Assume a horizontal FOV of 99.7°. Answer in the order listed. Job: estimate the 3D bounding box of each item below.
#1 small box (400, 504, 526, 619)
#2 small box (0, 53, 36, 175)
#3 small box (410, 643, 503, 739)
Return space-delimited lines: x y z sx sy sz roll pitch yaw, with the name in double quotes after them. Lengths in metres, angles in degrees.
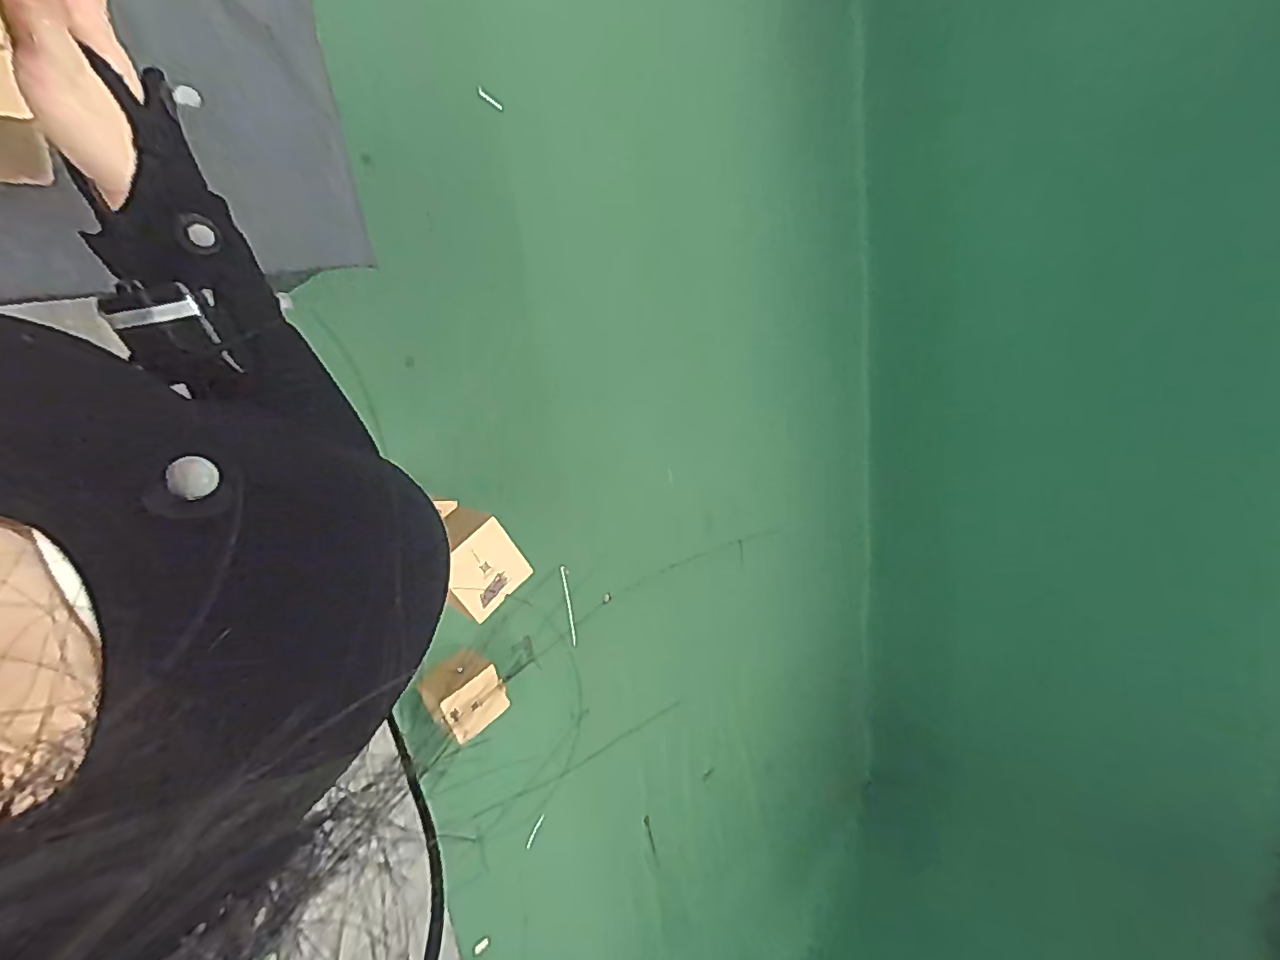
-0.396 0.174 1.208 0.168 0.176 0.179 -45 125 -29 "small box"
-0.571 -0.332 0.373 0.168 0.176 0.179 -21 110 -41 "small box"
-0.544 0.615 1.600 0.179 0.176 0.168 -33 119 -38 "small box"
